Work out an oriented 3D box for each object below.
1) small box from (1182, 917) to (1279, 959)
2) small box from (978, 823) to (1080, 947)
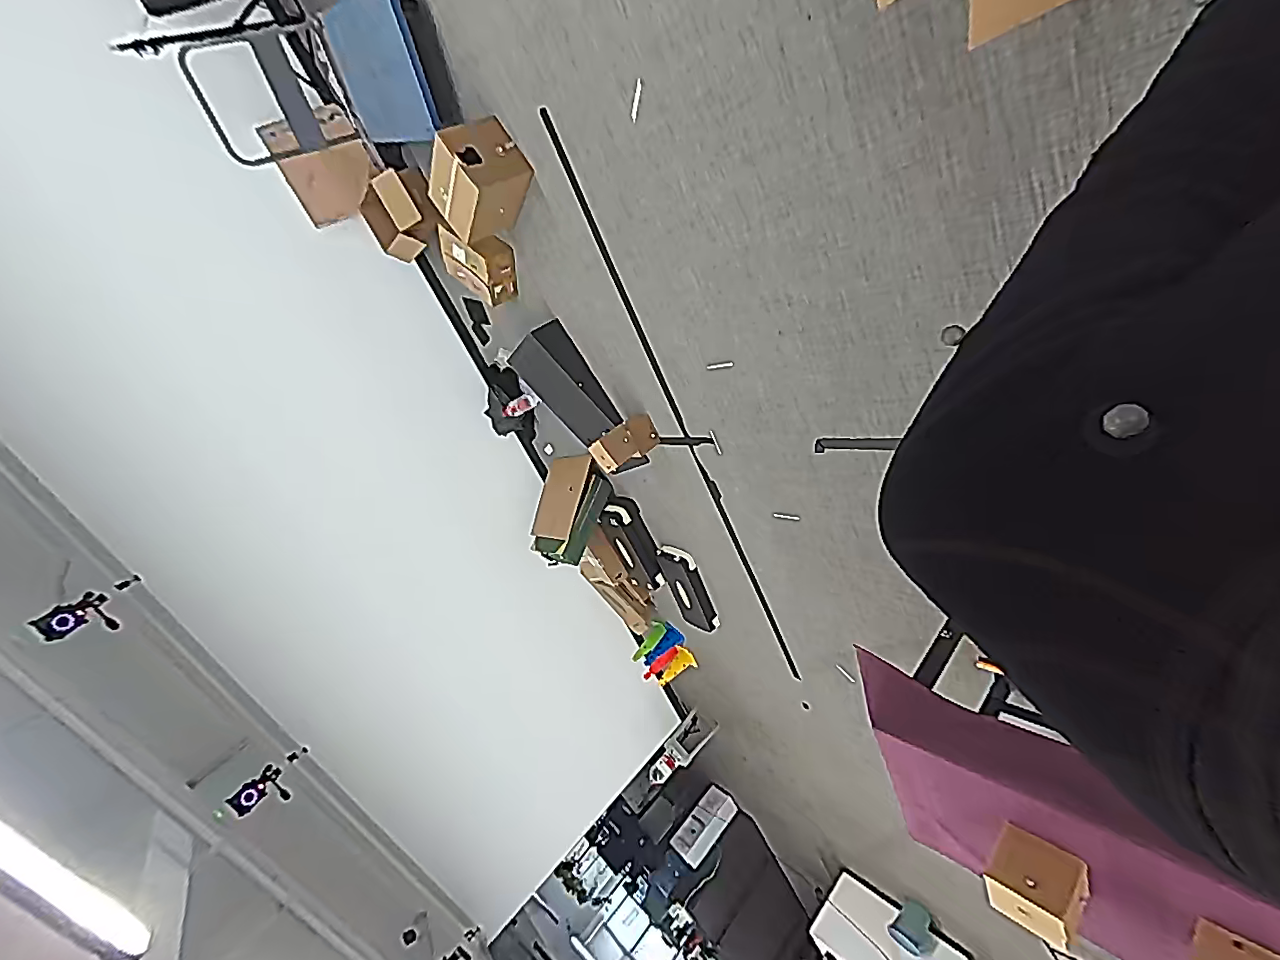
[{"bbox_3d":[1.248,1.073,1.123,0.168,0.176,0.179,5,128,54],"label":"small box"},{"bbox_3d":[1.027,1.051,1.425,0.179,0.176,0.168,9,131,51],"label":"small box"}]
